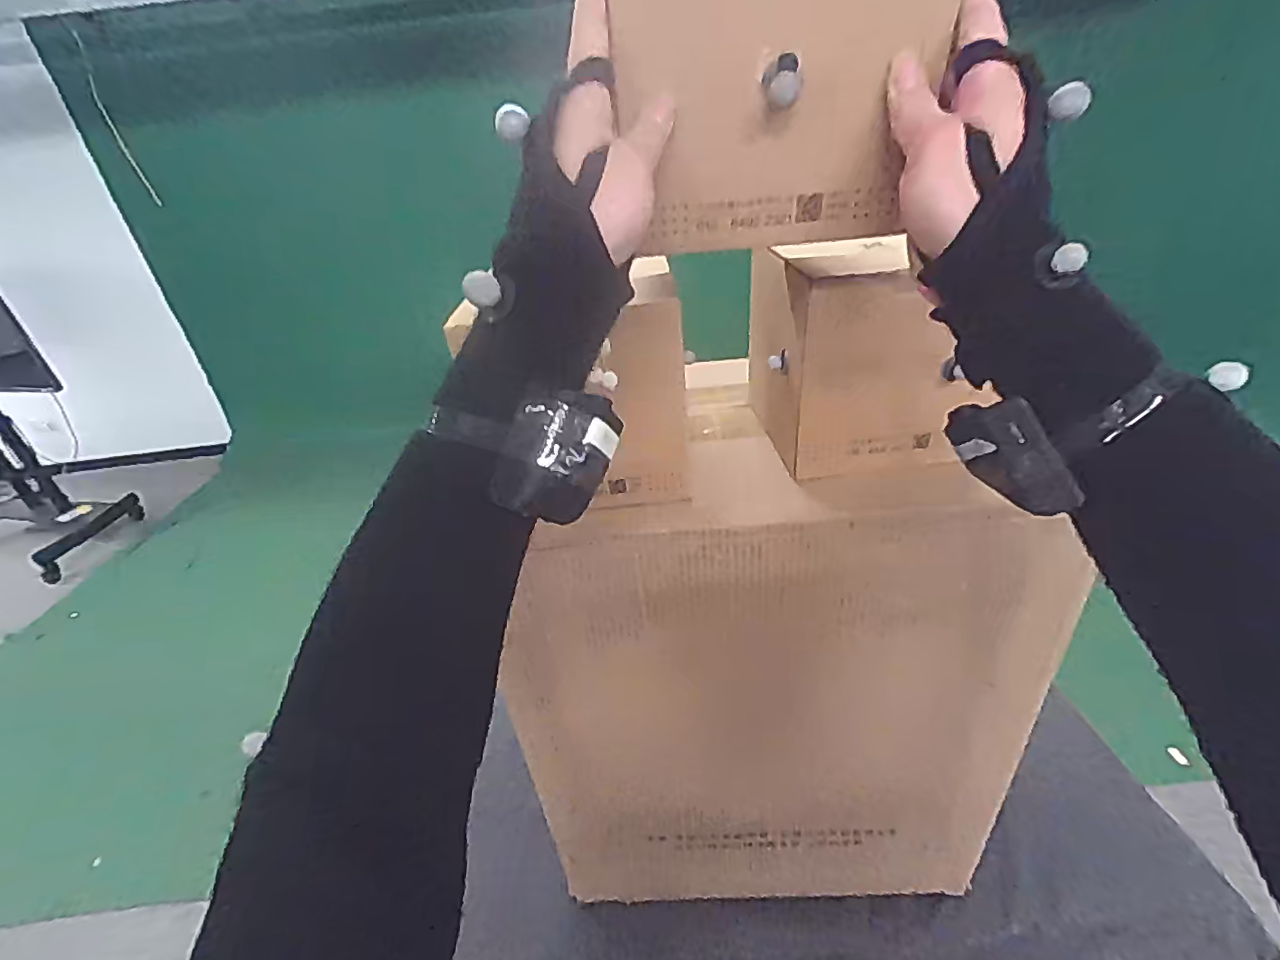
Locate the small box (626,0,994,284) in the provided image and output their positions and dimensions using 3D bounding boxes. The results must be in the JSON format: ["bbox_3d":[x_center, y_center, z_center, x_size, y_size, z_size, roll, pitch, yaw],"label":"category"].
[{"bbox_3d":[0.084,-0.229,0.334,0.168,0.176,0.179,-6,40,-2],"label":"small box"}]

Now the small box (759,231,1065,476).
[{"bbox_3d":[0.211,-0.113,0.480,0.168,0.176,0.179,-5,32,-3],"label":"small box"}]

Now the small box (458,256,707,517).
[{"bbox_3d":[-0.033,-0.087,0.470,0.168,0.176,0.179,-6,33,4],"label":"small box"}]
